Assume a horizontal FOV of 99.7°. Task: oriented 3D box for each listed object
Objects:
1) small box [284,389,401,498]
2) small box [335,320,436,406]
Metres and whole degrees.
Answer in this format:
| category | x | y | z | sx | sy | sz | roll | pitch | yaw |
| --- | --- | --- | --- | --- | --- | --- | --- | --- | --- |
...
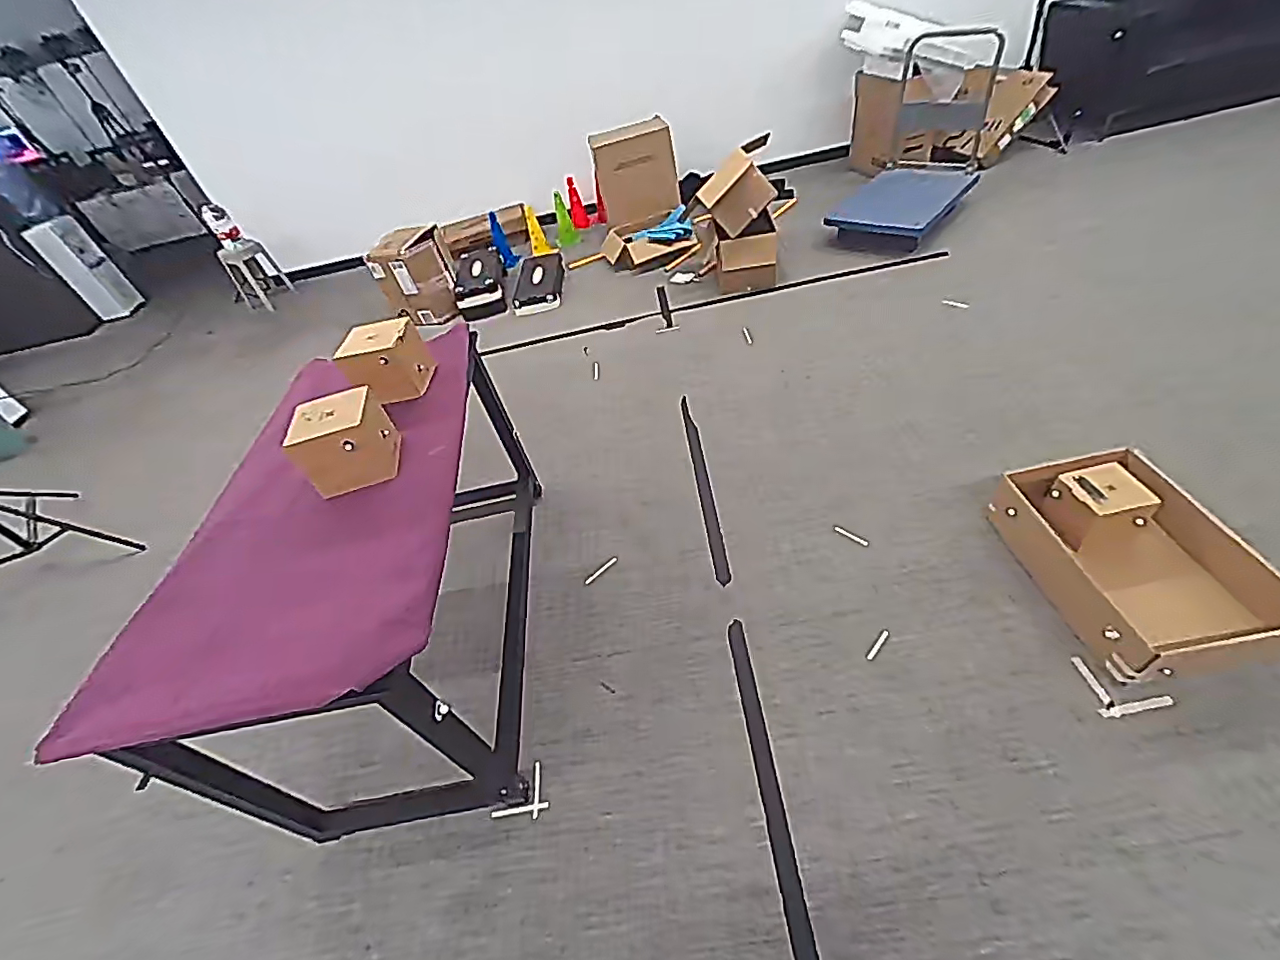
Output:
| category | x | y | z | sx | sy | sz | roll | pitch | yaw |
| --- | --- | --- | --- | --- | --- | --- | --- | --- | --- |
| small box | -0.694 | -0.085 | 1.288 | 0.179 | 0.176 | 0.168 | -18 | 44 | -3 |
| small box | -0.713 | -0.326 | 1.535 | 0.179 | 0.176 | 0.168 | -9 | 45 | 7 |
